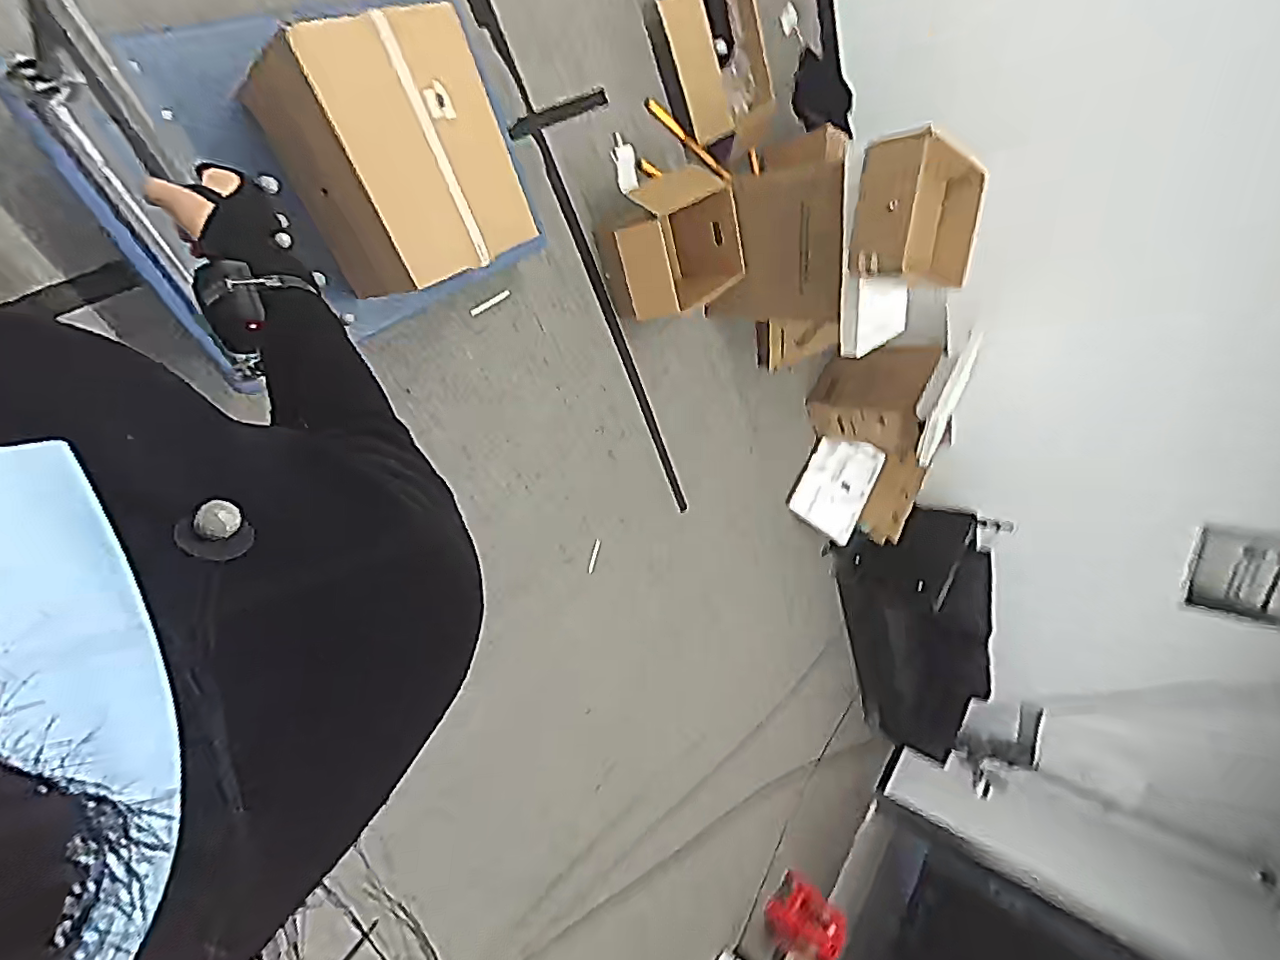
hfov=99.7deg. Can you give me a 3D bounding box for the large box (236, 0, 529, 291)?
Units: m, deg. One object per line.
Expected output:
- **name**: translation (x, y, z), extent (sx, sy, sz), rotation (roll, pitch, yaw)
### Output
- **large box**: translation (-0.499, -0.641, 1.088), extent (0.320, 0.320, 0.408), rotation (-43, 127, -33)
